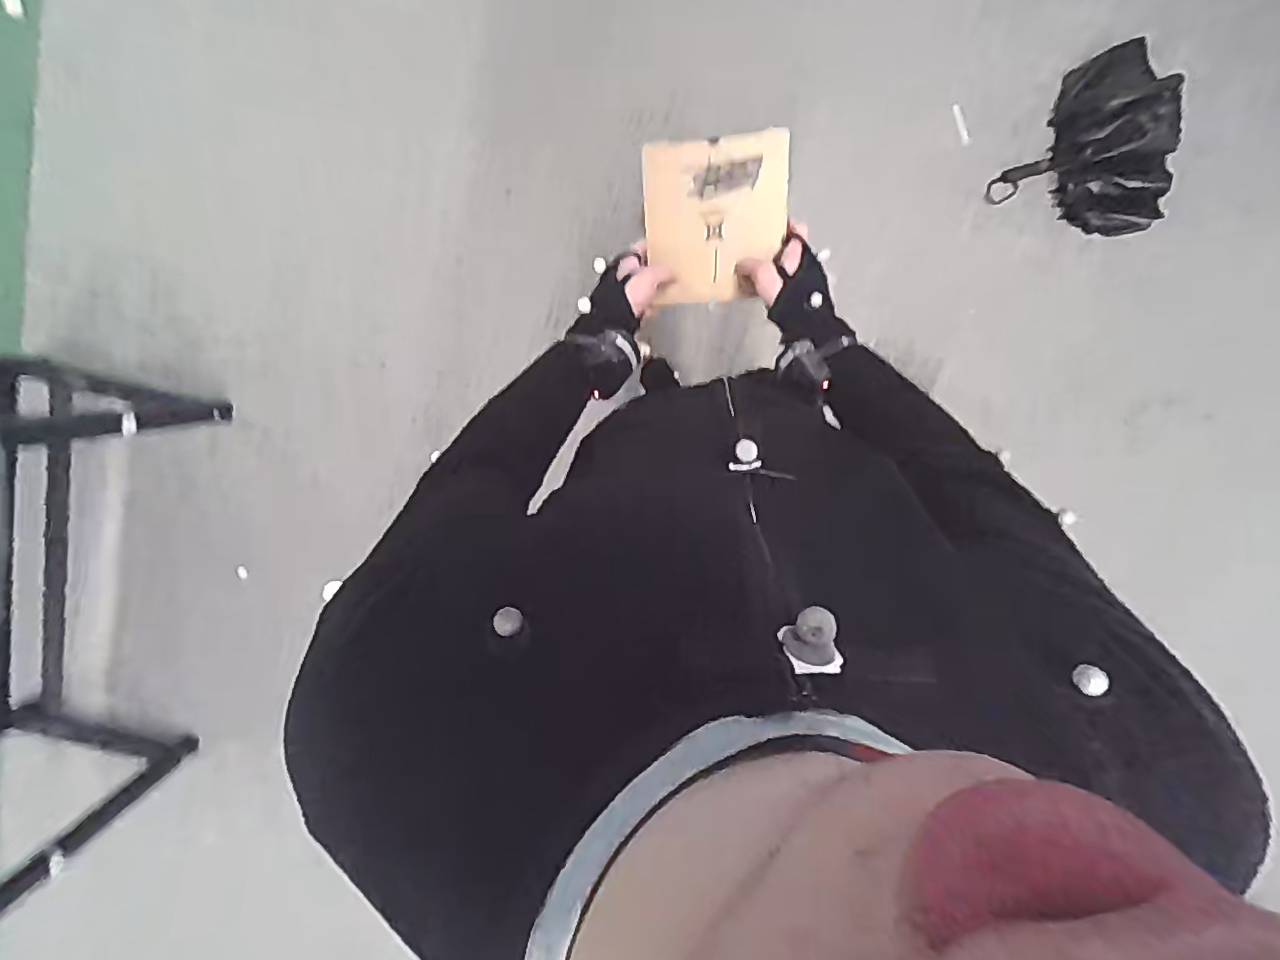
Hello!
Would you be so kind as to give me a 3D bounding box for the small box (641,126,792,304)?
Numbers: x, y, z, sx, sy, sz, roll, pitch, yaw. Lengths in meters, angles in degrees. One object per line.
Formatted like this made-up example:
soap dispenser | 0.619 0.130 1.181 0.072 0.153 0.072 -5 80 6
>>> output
small box | 0.094 -0.321 0.684 0.168 0.176 0.179 -1 111 8
